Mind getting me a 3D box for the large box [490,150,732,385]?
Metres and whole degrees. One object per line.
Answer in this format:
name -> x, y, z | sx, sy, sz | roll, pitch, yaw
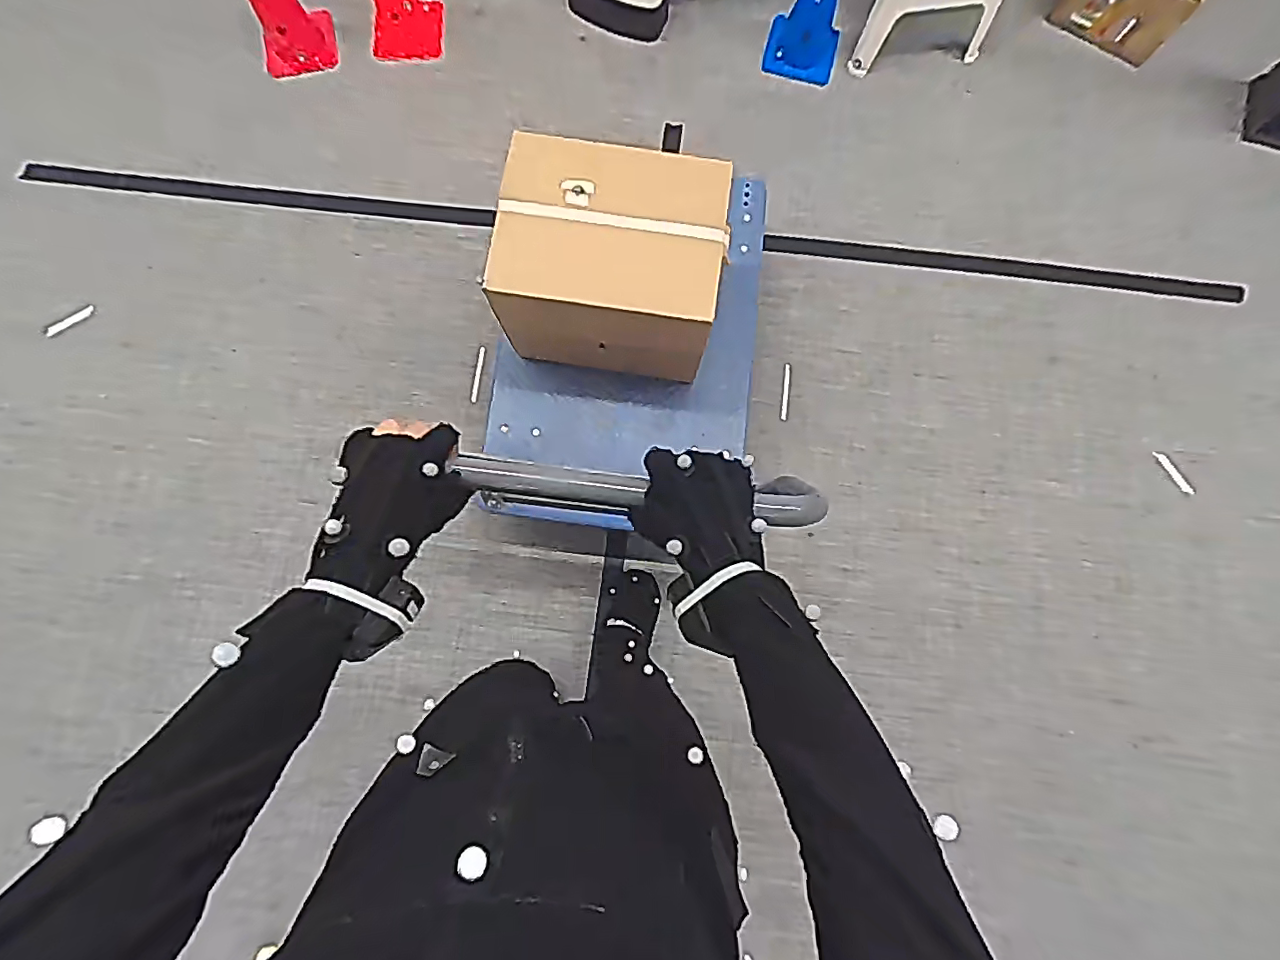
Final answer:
large box -> -0.046, -0.408, 1.110 | 0.408, 0.320, 0.320 | 9, 80, 1
